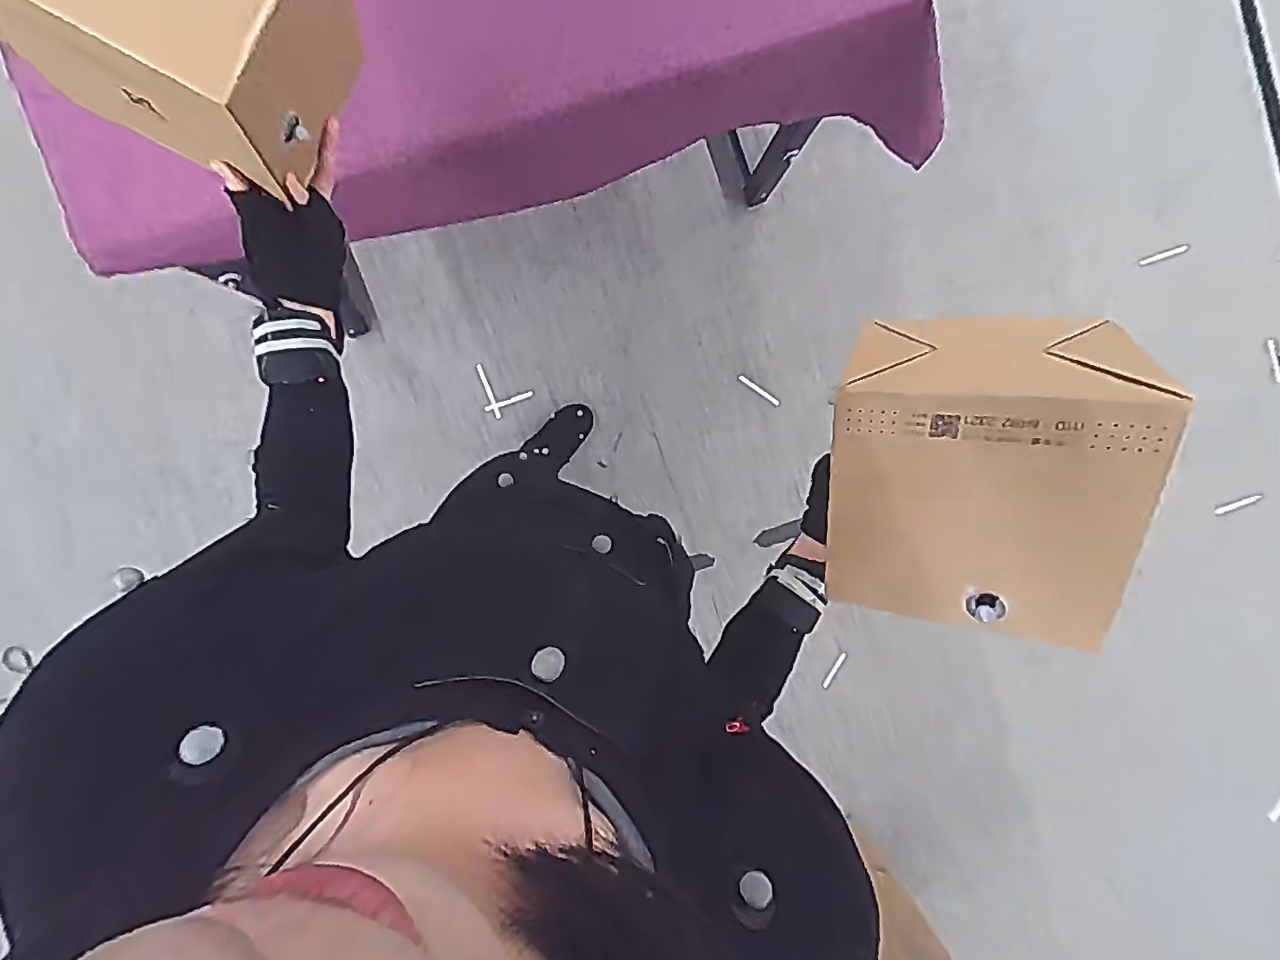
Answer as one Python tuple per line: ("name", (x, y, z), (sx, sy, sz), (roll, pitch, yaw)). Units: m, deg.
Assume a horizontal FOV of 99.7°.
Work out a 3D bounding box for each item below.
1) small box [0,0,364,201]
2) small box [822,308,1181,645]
("small box", (-0.327, -0.358, 0.400), (0.168, 0.179, 0.176), (23, 85, -19))
("small box", (0.234, -0.021, 0.387), (0.168, 0.179, 0.176), (8, 121, 27))
